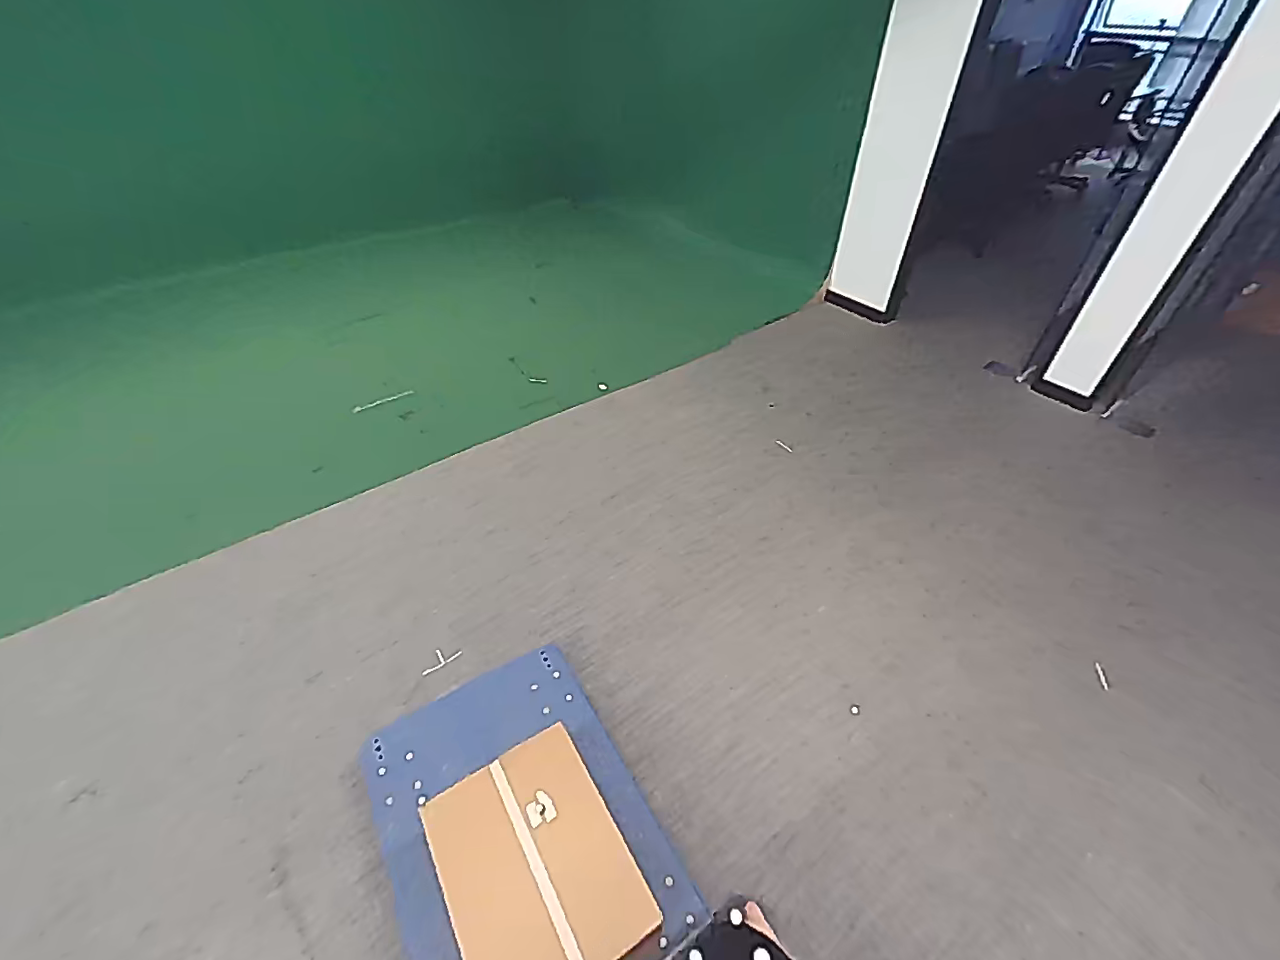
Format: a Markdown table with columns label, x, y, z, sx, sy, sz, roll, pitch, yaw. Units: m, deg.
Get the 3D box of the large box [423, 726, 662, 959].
| label | x | y | z | sx | sy | sz | roll | pitch | yaw |
| --- | --- | --- | --- | --- | --- | --- | --- | --- | --- |
| large box | -0.190 | 0.811 | 1.100 | 0.320 | 0.320 | 0.408 | -23 | 46 | -23 |
